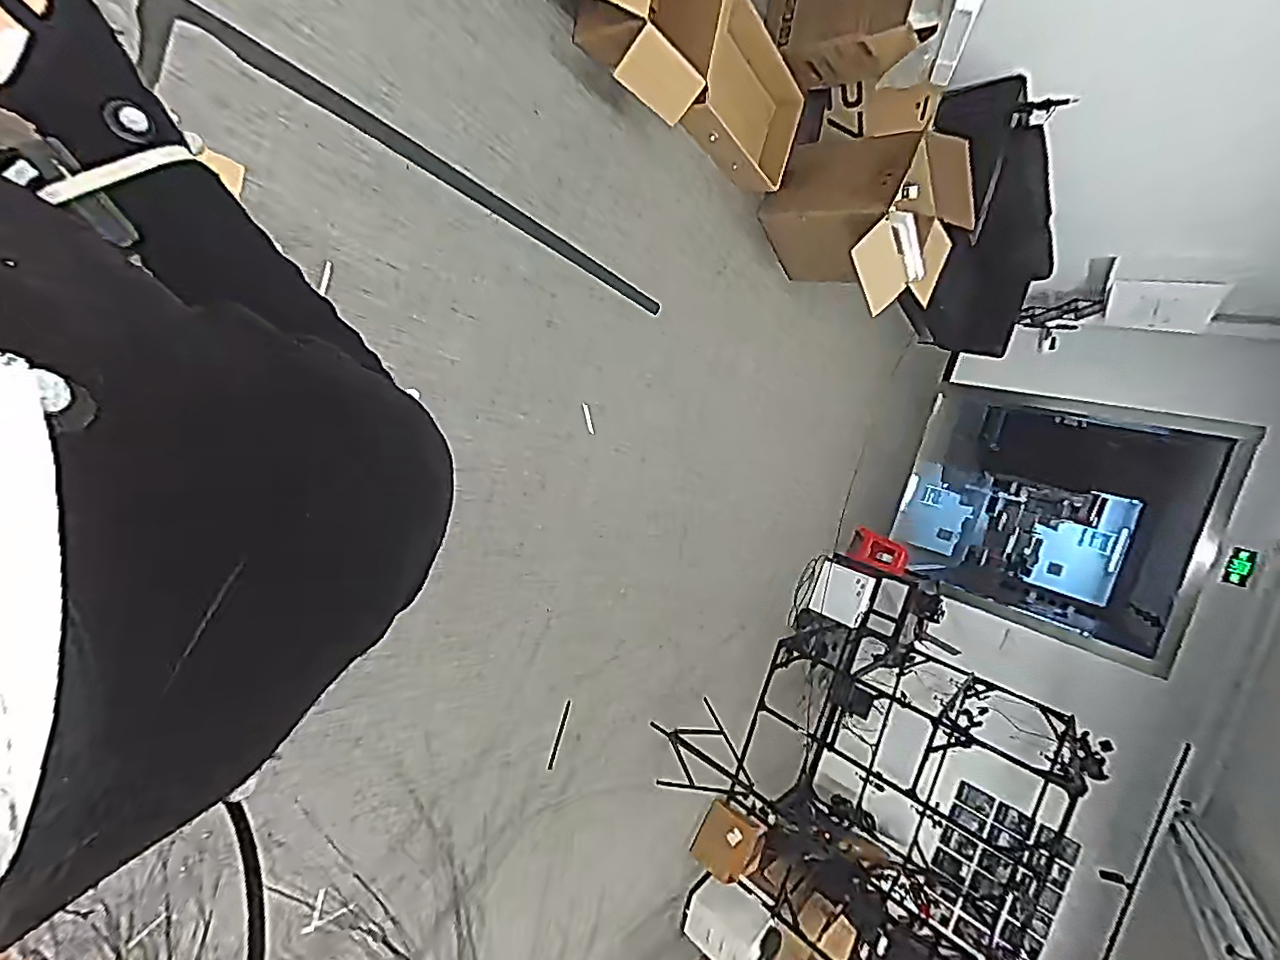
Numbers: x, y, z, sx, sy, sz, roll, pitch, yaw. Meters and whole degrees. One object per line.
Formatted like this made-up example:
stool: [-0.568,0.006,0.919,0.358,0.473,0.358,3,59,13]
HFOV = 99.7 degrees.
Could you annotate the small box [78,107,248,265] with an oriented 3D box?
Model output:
small box: [-0.798,-0.474,0.902,0.179,0.176,0.168,10,98,-53]
